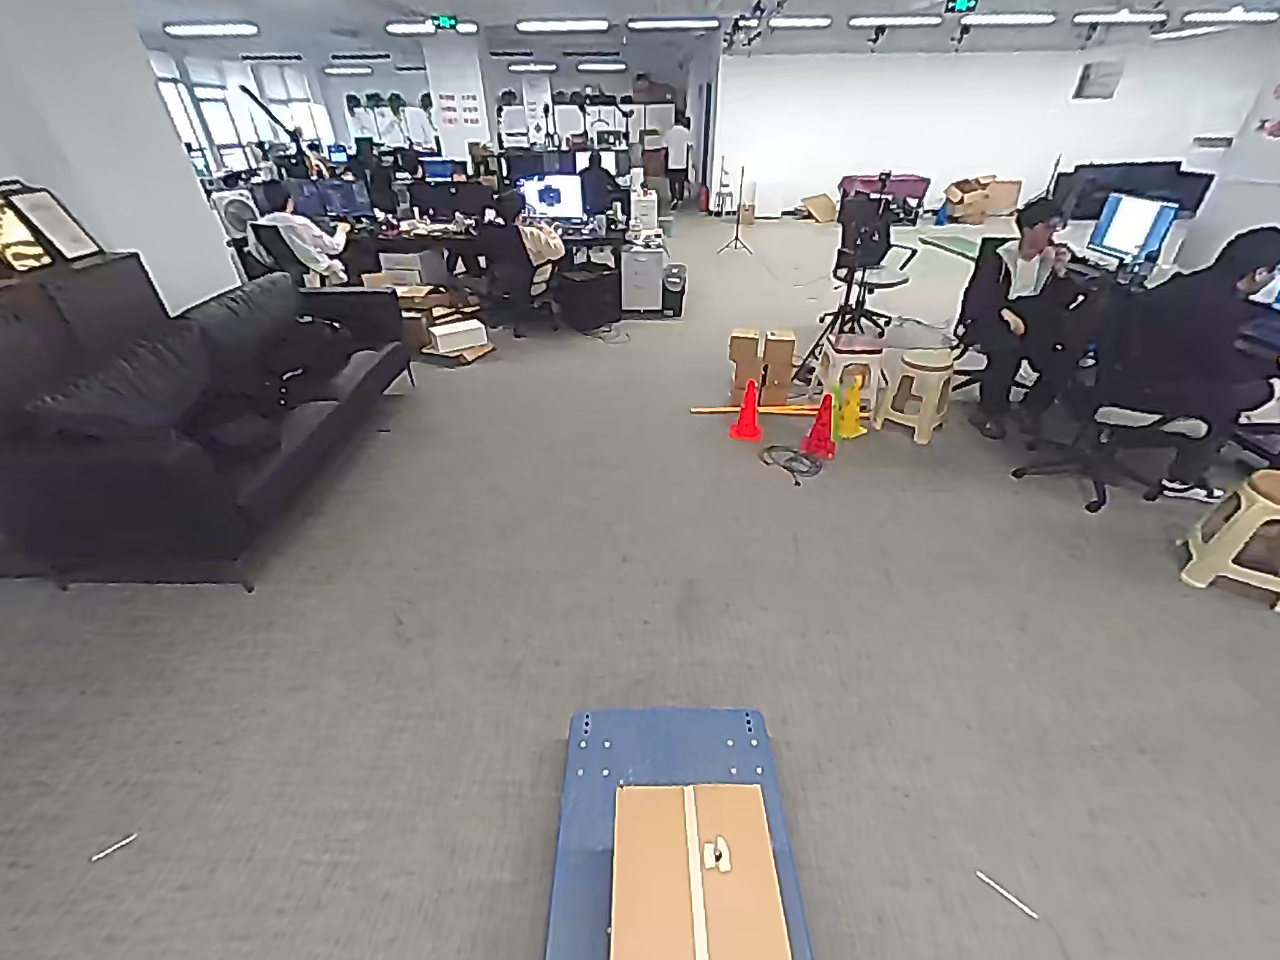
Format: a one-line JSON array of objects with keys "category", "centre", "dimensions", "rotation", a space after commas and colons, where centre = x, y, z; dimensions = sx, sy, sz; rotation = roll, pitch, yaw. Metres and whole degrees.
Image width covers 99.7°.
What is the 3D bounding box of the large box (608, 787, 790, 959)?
[{"category": "large box", "centre": [0.104, 0.900, 1.077], "dimensions": [0.320, 0.320, 0.408], "rotation": [-1, 33, 0]}]
